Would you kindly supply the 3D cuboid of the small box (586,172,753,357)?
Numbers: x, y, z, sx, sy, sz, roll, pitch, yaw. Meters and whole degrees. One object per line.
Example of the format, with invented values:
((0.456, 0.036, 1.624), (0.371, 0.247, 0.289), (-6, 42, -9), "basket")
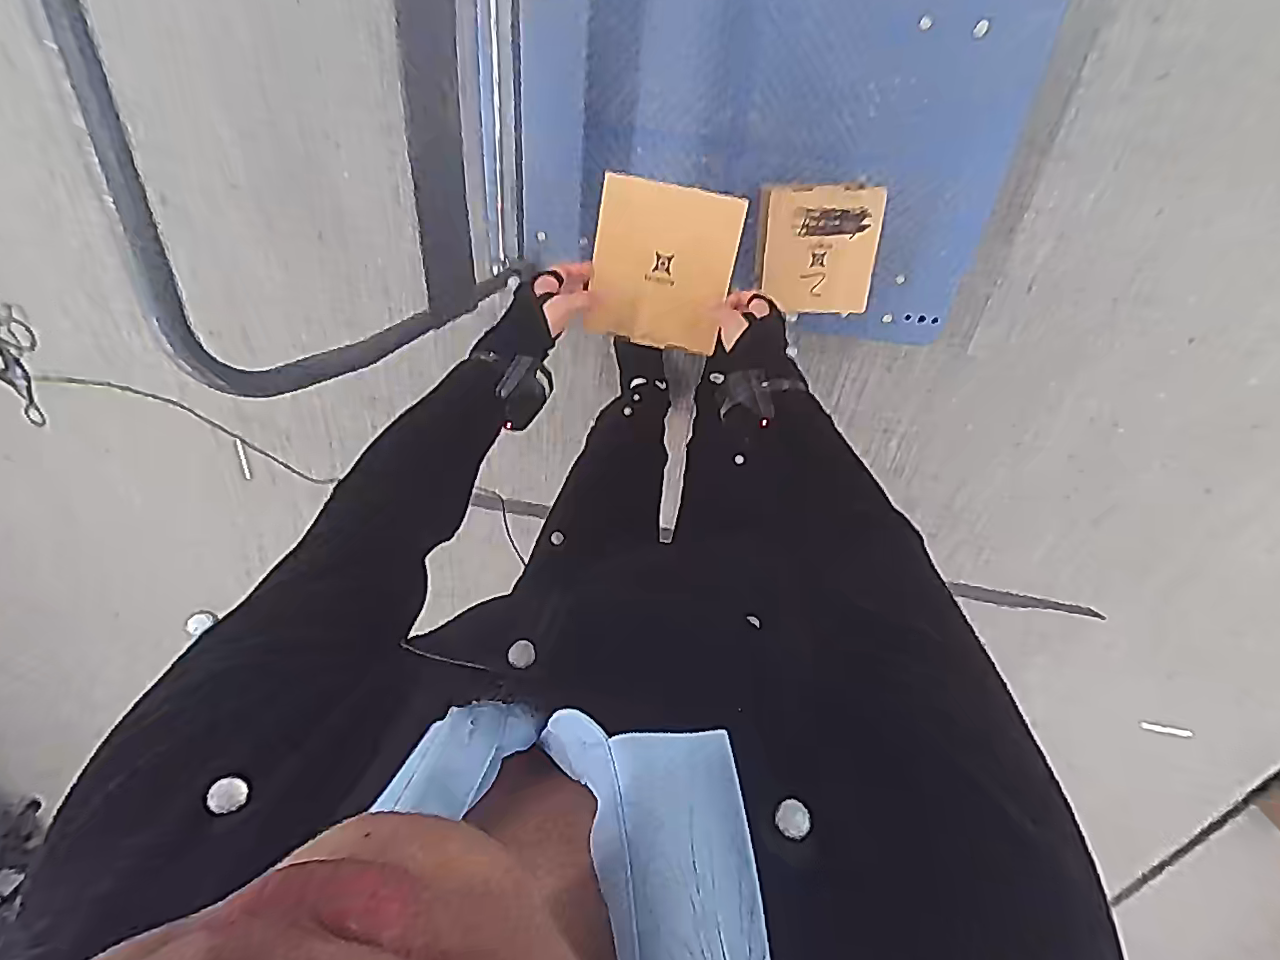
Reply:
((0.032, -0.272, 0.695), (0.168, 0.176, 0.179), (10, 112, -2), "small box")

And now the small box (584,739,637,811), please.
((-0.104, 1.099, 2.016), (0.168, 0.176, 0.179), (-1, 120, 7), "small box")
